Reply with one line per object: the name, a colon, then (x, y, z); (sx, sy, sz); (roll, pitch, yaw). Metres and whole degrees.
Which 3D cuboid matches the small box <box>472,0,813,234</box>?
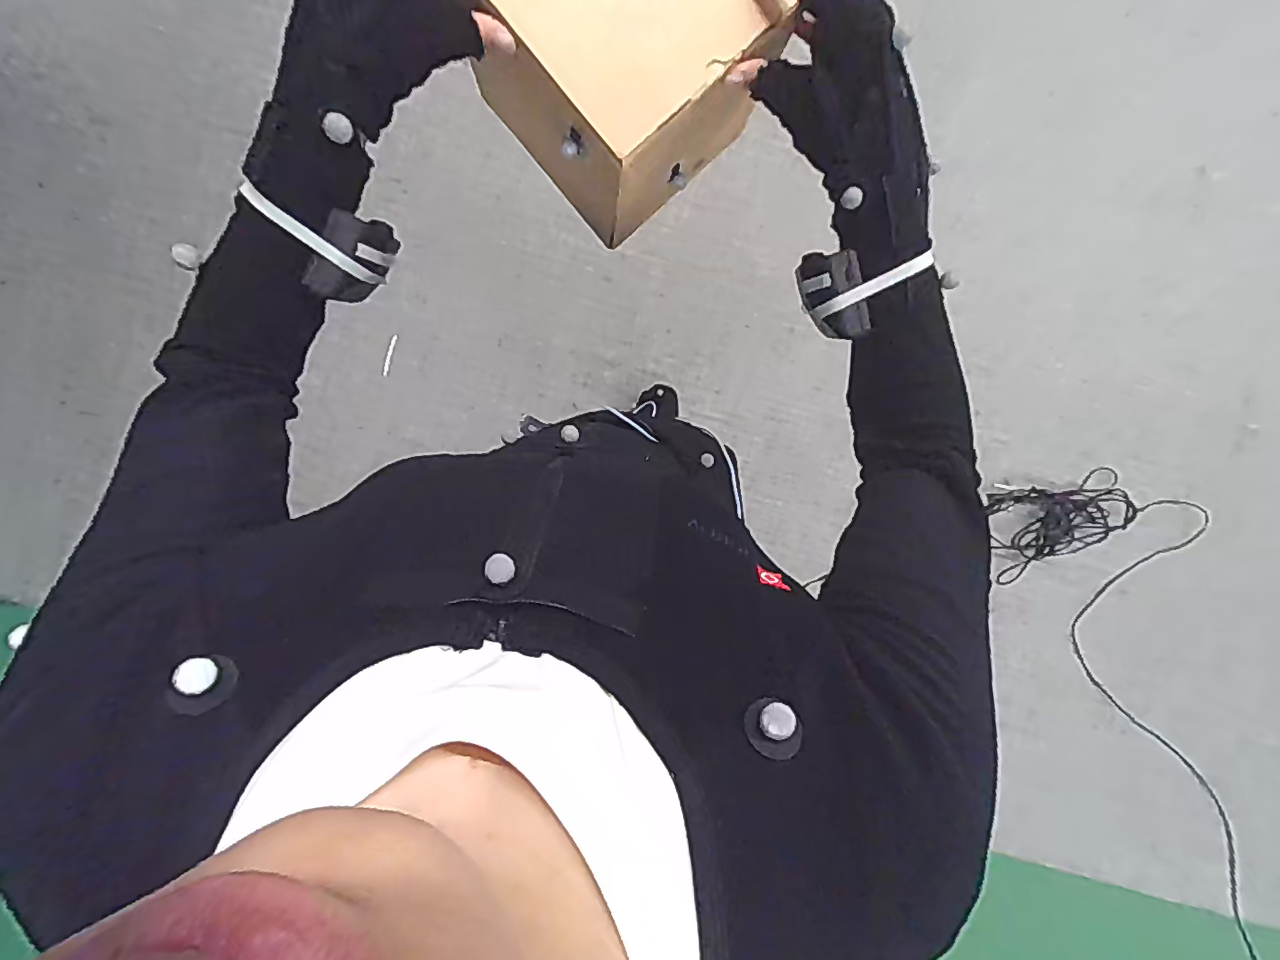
small box: (-0.012, -0.329, 0.412); (0.168, 0.176, 0.179); (-41, 99, 0)
